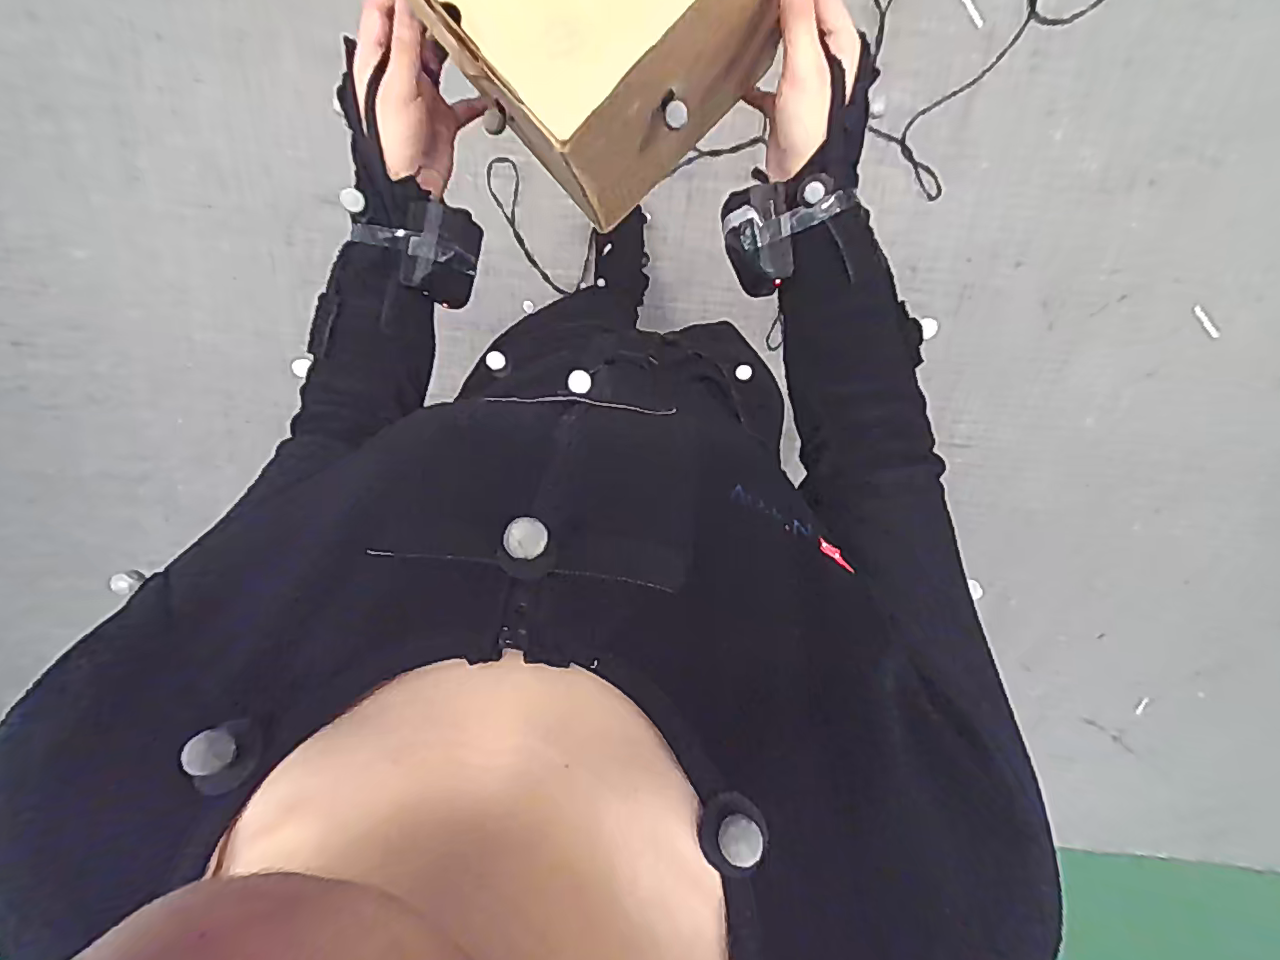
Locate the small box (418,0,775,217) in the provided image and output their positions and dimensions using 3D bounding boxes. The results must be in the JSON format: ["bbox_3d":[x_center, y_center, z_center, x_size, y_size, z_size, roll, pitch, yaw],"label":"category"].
[{"bbox_3d":[-0.025,-0.303,0.339,0.179,0.176,0.168,-42,95,11],"label":"small box"}]
